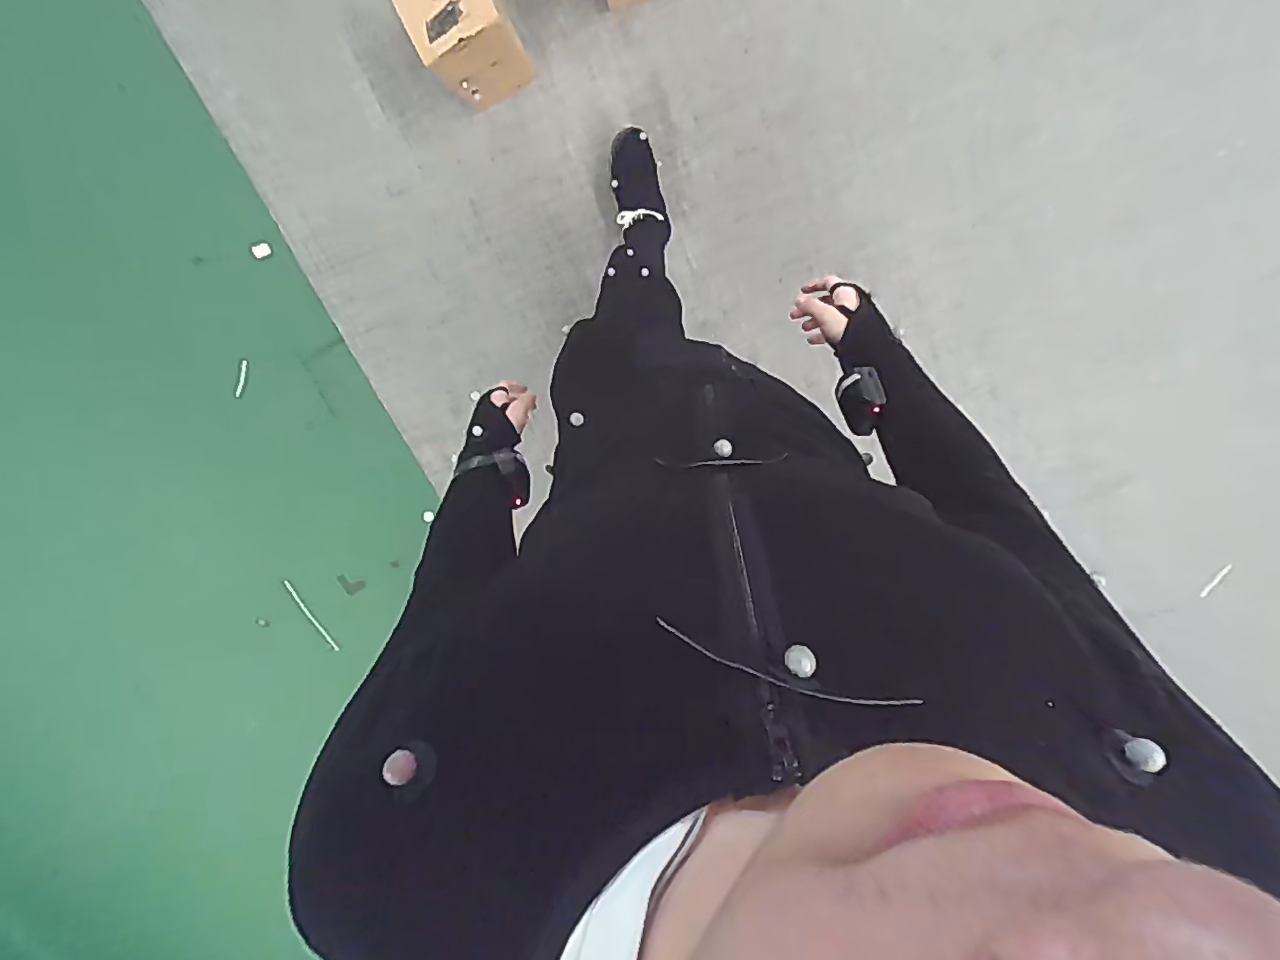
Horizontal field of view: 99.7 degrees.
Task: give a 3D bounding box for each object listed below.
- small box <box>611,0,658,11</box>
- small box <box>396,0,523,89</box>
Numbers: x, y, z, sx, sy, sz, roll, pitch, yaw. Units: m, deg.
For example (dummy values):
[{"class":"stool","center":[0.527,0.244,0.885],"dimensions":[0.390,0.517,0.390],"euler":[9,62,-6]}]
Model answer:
[{"class":"small box","center":[-0.001,-1.115,1.115],"dimensions":[0.168,0.176,0.179],"euler":[-14,112,6]},{"class":"small box","center":[-0.347,-0.891,1.038],"dimensions":[0.168,0.176,0.179],"euler":[-23,108,10]}]
